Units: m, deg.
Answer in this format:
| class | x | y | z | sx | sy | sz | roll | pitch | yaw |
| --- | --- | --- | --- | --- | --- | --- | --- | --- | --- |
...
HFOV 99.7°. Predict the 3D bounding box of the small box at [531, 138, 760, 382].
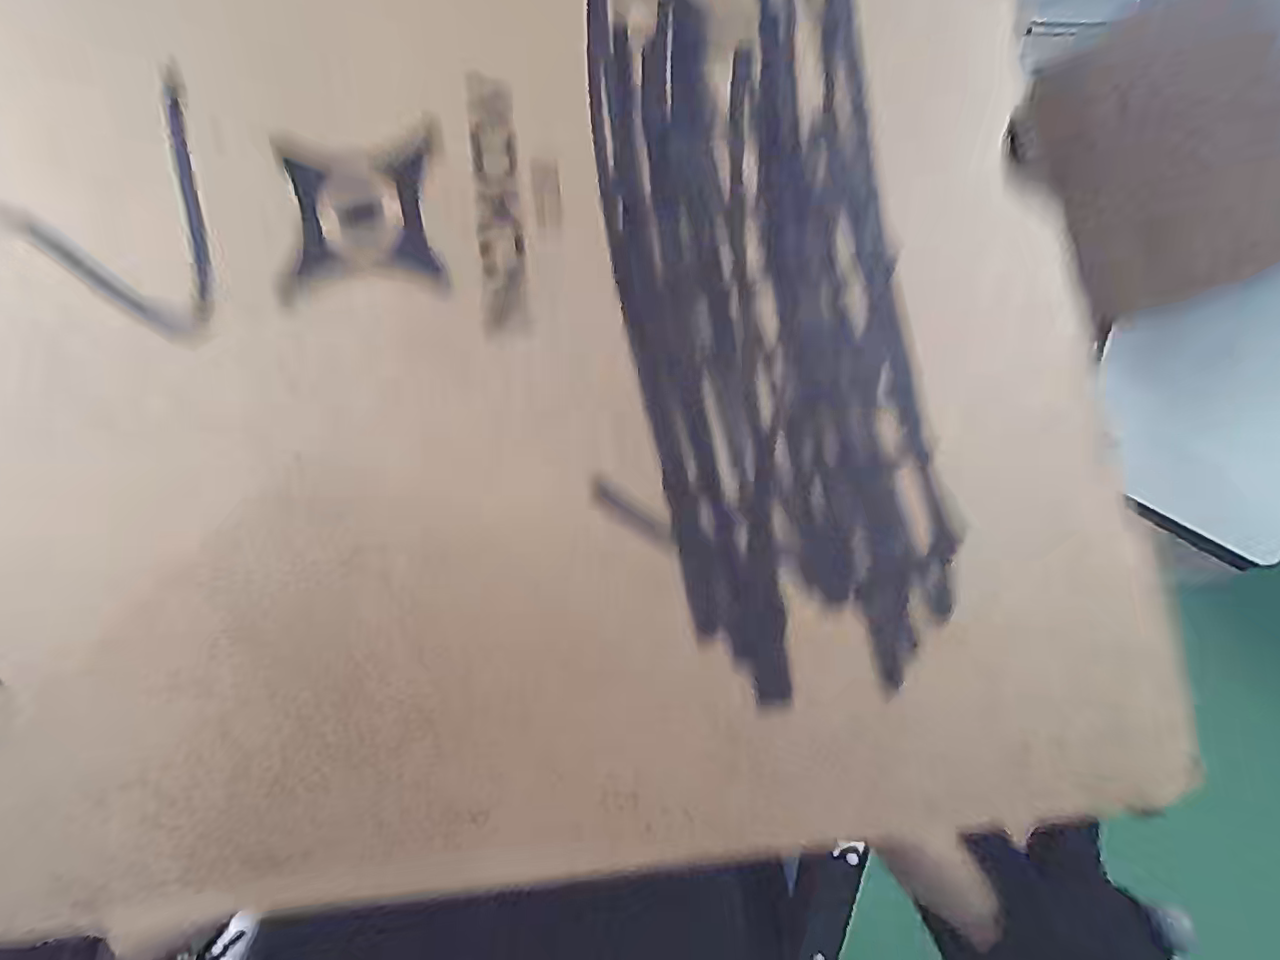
| class | x | y | z | sx | sy | sz | roll | pitch | yaw |
| --- | --- | --- | --- | --- | --- | --- | --- | --- | --- |
| small box | 0.008 | -0.189 | 0.482 | 0.168 | 0.176 | 0.179 | 1 | 22 | 4 |
